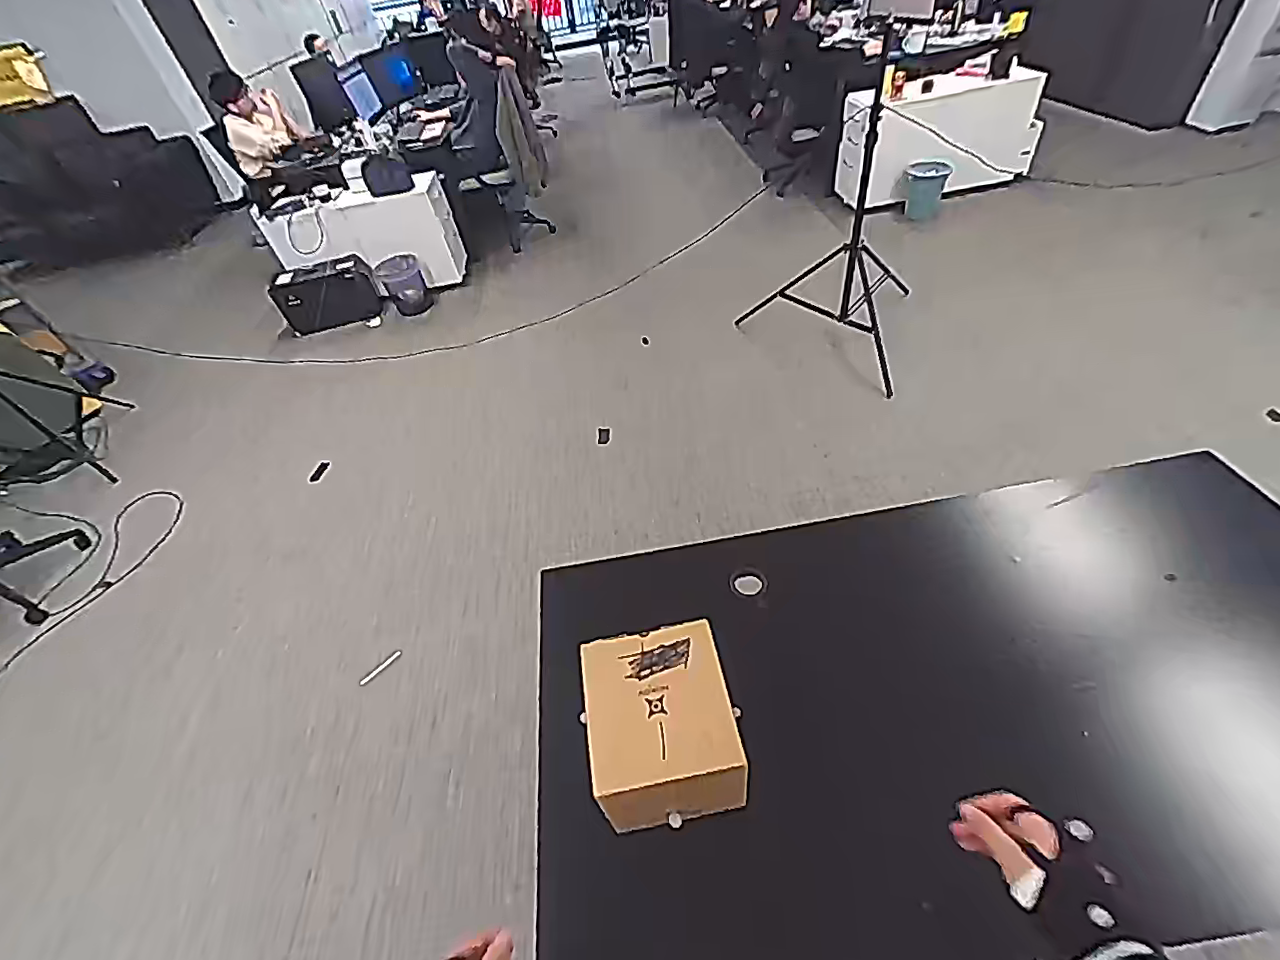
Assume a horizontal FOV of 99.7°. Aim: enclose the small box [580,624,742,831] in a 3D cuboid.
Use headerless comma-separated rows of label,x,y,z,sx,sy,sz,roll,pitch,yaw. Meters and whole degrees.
small box,0.024,0.313,0.682,0.168,0.176,0.179,-12,46,-1
